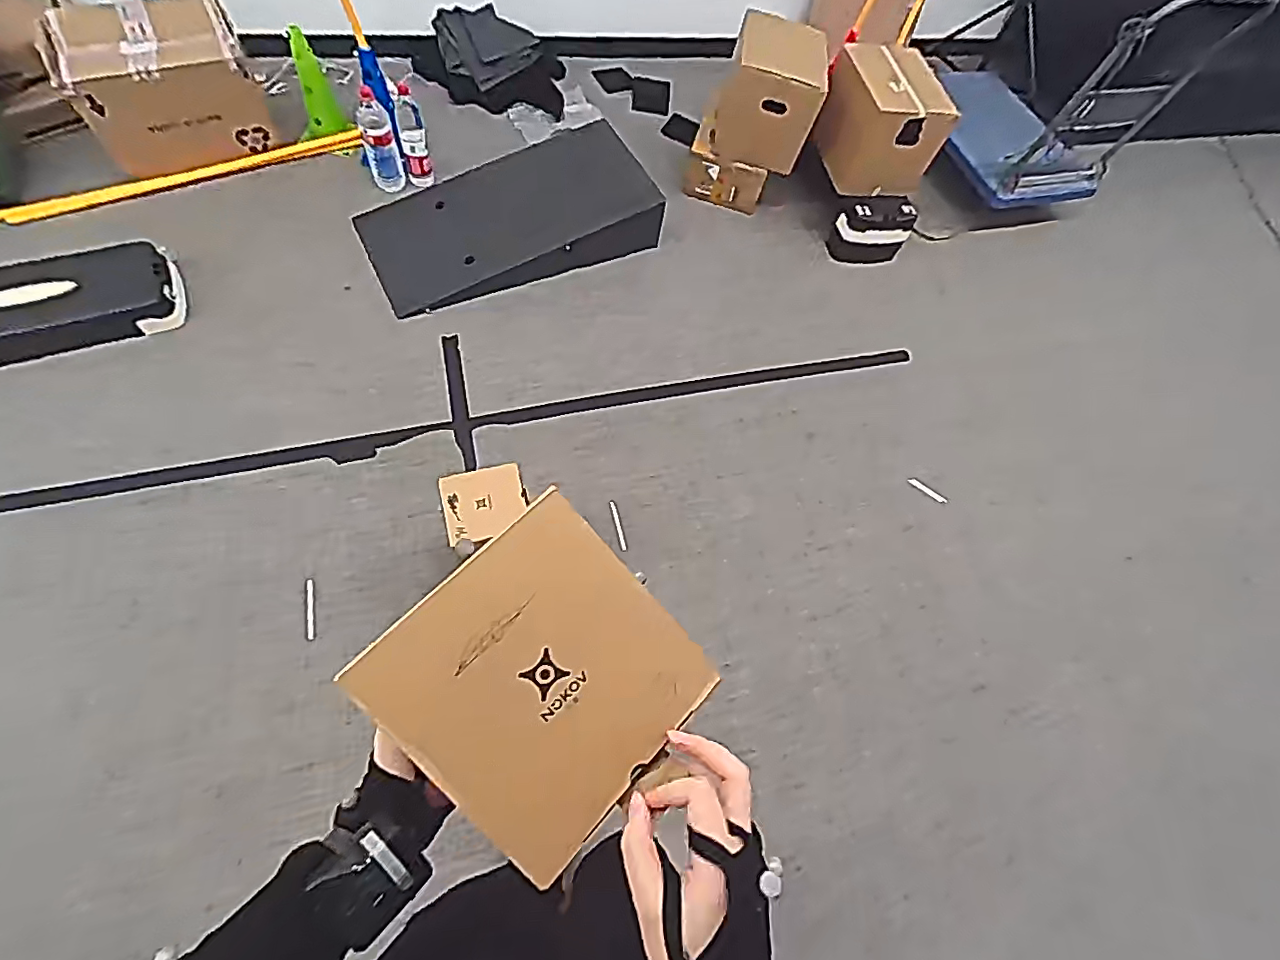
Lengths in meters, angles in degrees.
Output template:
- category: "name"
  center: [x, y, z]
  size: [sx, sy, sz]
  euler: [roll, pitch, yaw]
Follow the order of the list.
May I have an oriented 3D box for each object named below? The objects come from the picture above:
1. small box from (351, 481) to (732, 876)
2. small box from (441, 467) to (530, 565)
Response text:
- category: "small box"
  center: [-0.072, 0.125, 0.403]
  size: [0.168, 0.176, 0.179]
  euler: [-42, 95, -20]
- category: "small box"
  center: [-0.342, 0.093, 1.233]
  size: [0.179, 0.176, 0.168]
  euler: [-12, 66, -16]
